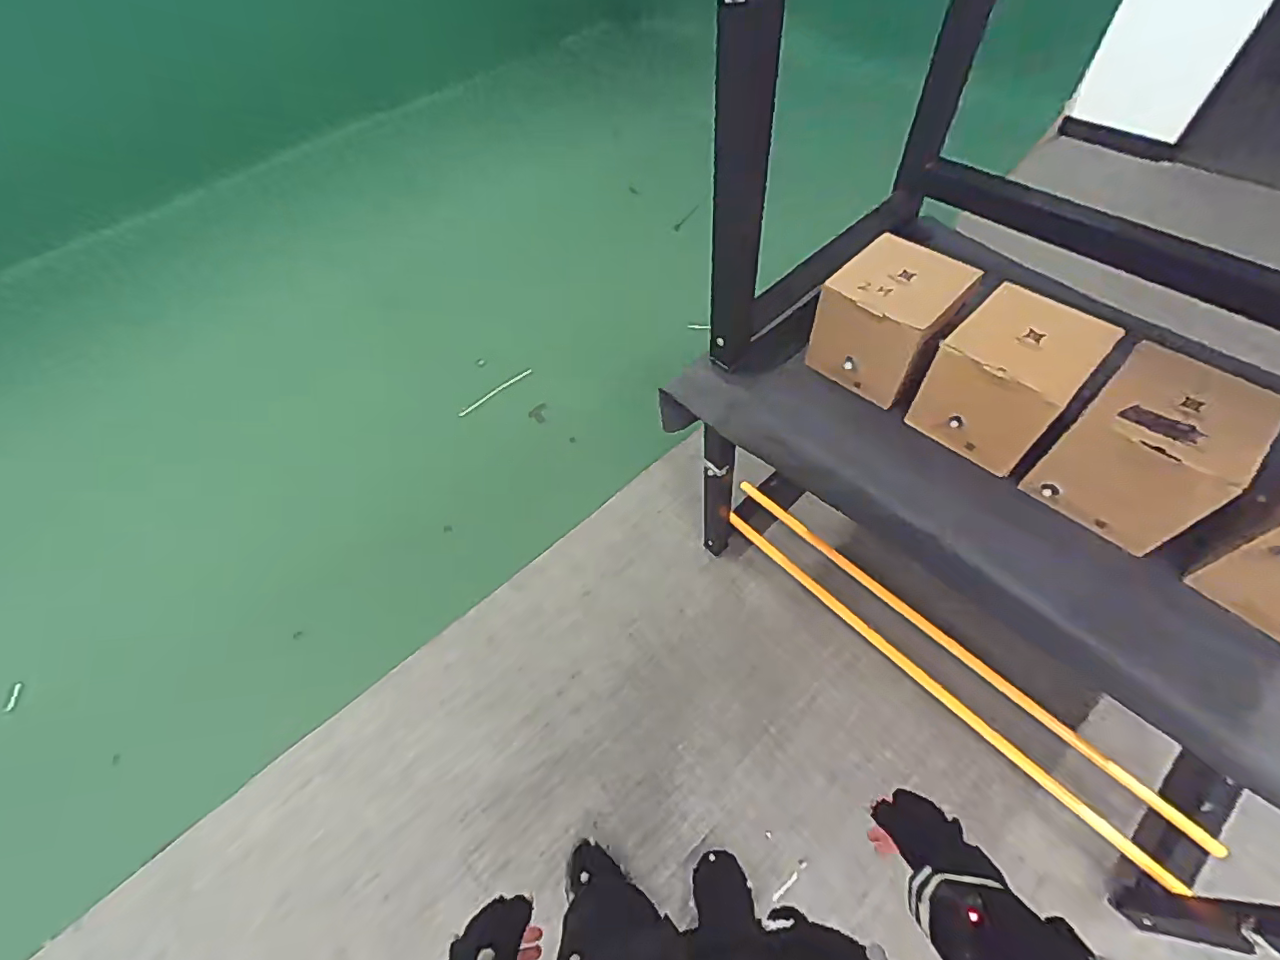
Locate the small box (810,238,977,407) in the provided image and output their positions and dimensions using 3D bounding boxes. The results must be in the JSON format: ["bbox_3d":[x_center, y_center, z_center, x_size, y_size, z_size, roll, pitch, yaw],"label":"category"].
[{"bbox_3d":[0.404,-0.258,0.894,0.179,0.176,0.168,-41,61,-19],"label":"small box"}]
